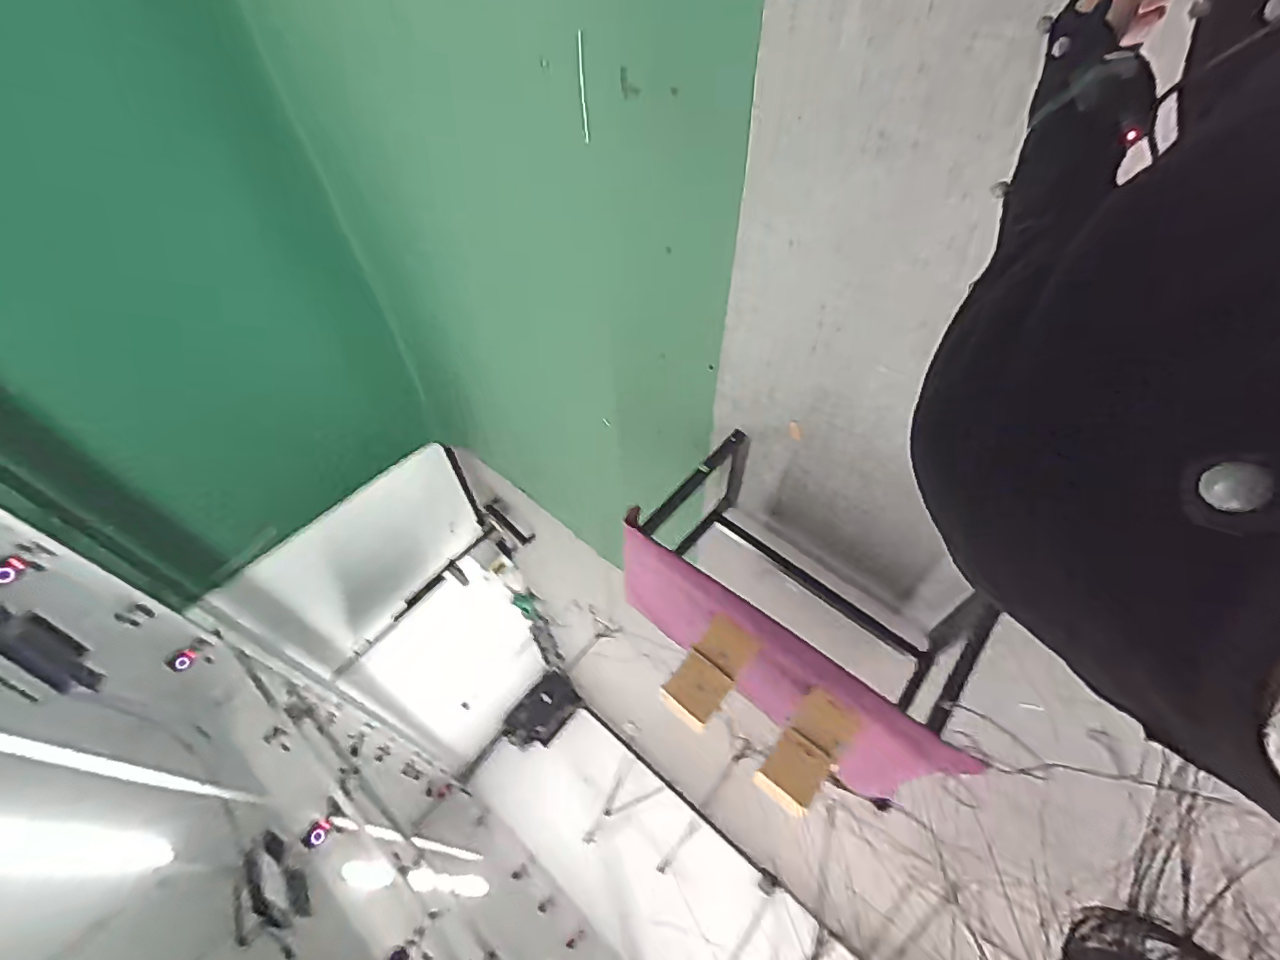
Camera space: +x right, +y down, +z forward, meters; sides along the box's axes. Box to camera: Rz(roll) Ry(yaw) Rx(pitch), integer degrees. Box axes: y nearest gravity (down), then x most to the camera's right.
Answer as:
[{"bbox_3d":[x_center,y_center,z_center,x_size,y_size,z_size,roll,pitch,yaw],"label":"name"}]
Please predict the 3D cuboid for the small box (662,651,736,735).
[{"bbox_3d":[0.194,0.696,1.773,0.179,0.176,0.168,34,151,21],"label":"small box"}]

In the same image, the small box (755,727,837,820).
[{"bbox_3d":[0.469,0.881,1.628,0.168,0.176,0.179,32,150,26],"label":"small box"}]

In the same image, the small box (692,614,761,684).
[{"bbox_3d":[0.293,0.598,1.861,0.179,0.176,0.168,36,152,21],"label":"small box"}]
